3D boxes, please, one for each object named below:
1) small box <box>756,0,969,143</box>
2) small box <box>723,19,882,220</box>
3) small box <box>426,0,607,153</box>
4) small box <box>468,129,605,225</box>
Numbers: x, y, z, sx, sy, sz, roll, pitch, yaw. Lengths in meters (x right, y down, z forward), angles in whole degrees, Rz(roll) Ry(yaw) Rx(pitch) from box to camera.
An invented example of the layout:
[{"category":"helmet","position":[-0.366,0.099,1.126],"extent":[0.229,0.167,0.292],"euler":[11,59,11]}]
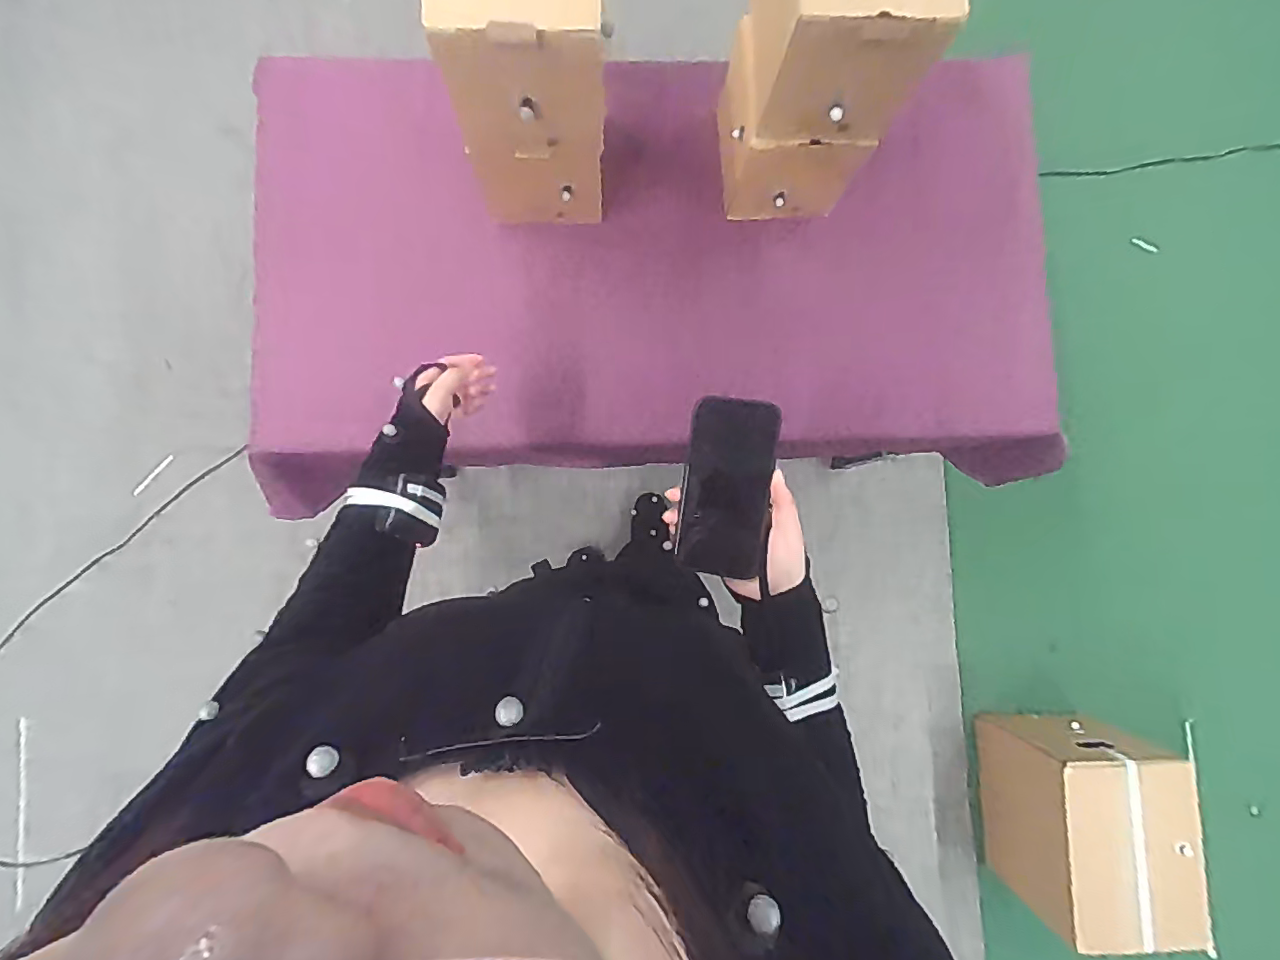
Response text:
[{"category":"small box","position":[0.228,-0.514,0.598],"extent":[0.168,0.176,0.179],"euler":[-1,87,-2]},{"category":"small box","position":[0.216,-0.495,0.761],"extent":[0.168,0.176,0.179],"euler":[-3,87,-2]},{"category":"small box","position":[-0.120,-0.486,0.583],"extent":[0.168,0.176,0.179],"euler":[-1,86,-3]},{"category":"small box","position":[-0.134,-0.476,0.748],"extent":[0.168,0.176,0.179],"euler":[-1,86,-3]}]
